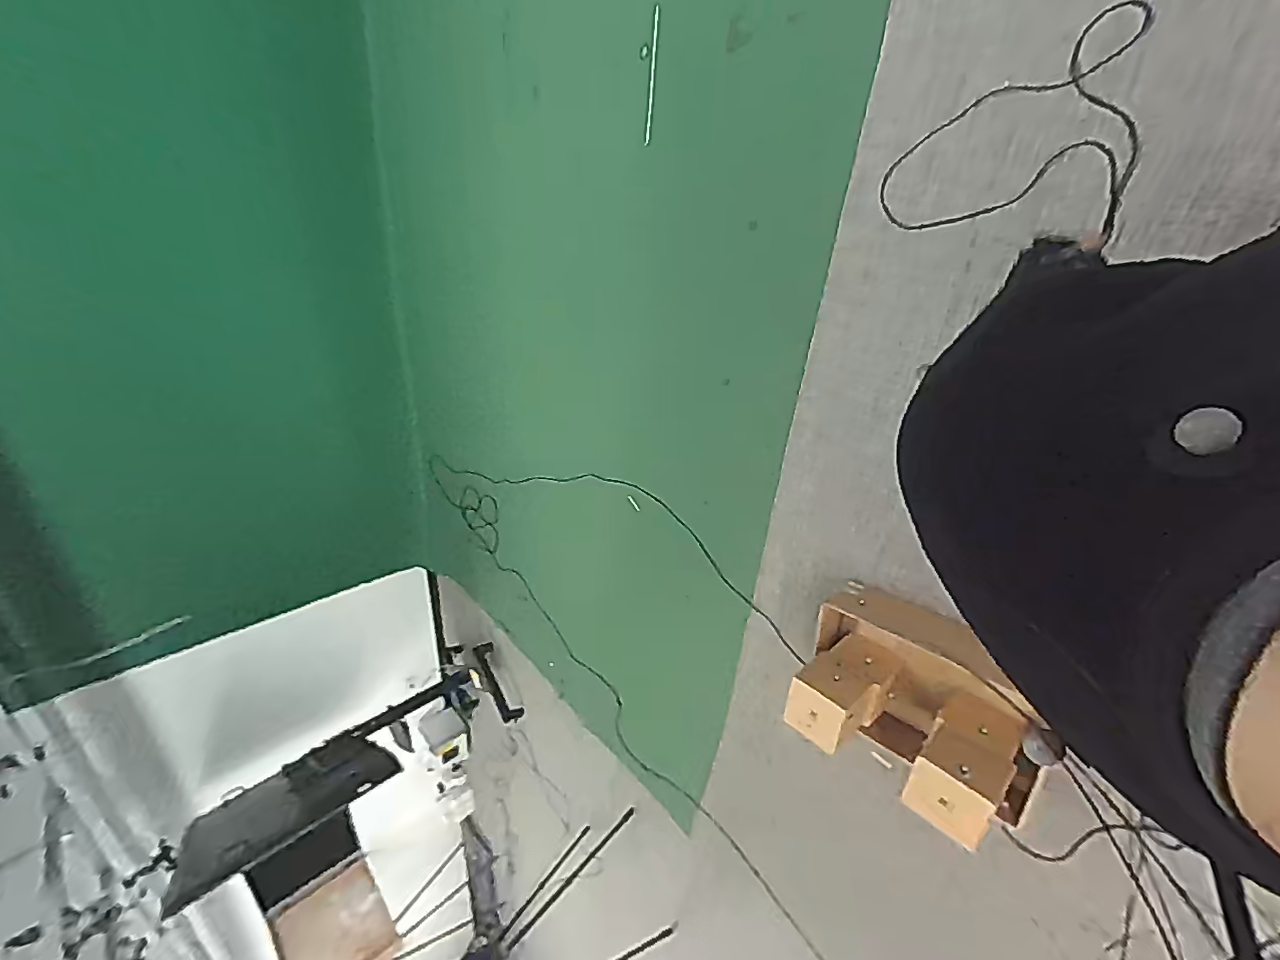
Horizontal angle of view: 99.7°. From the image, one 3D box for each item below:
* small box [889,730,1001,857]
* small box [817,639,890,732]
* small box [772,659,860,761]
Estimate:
[{"bbox_3d":[0.755,0.761,1.336,0.179,0.176,0.168,27,121,40],"label":"small box"},{"bbox_3d":[0.639,0.621,1.661,0.179,0.176,0.168,26,121,39],"label":"small box"},{"bbox_3d":[0.510,0.653,1.561,0.168,0.176,0.179,27,123,40],"label":"small box"}]
